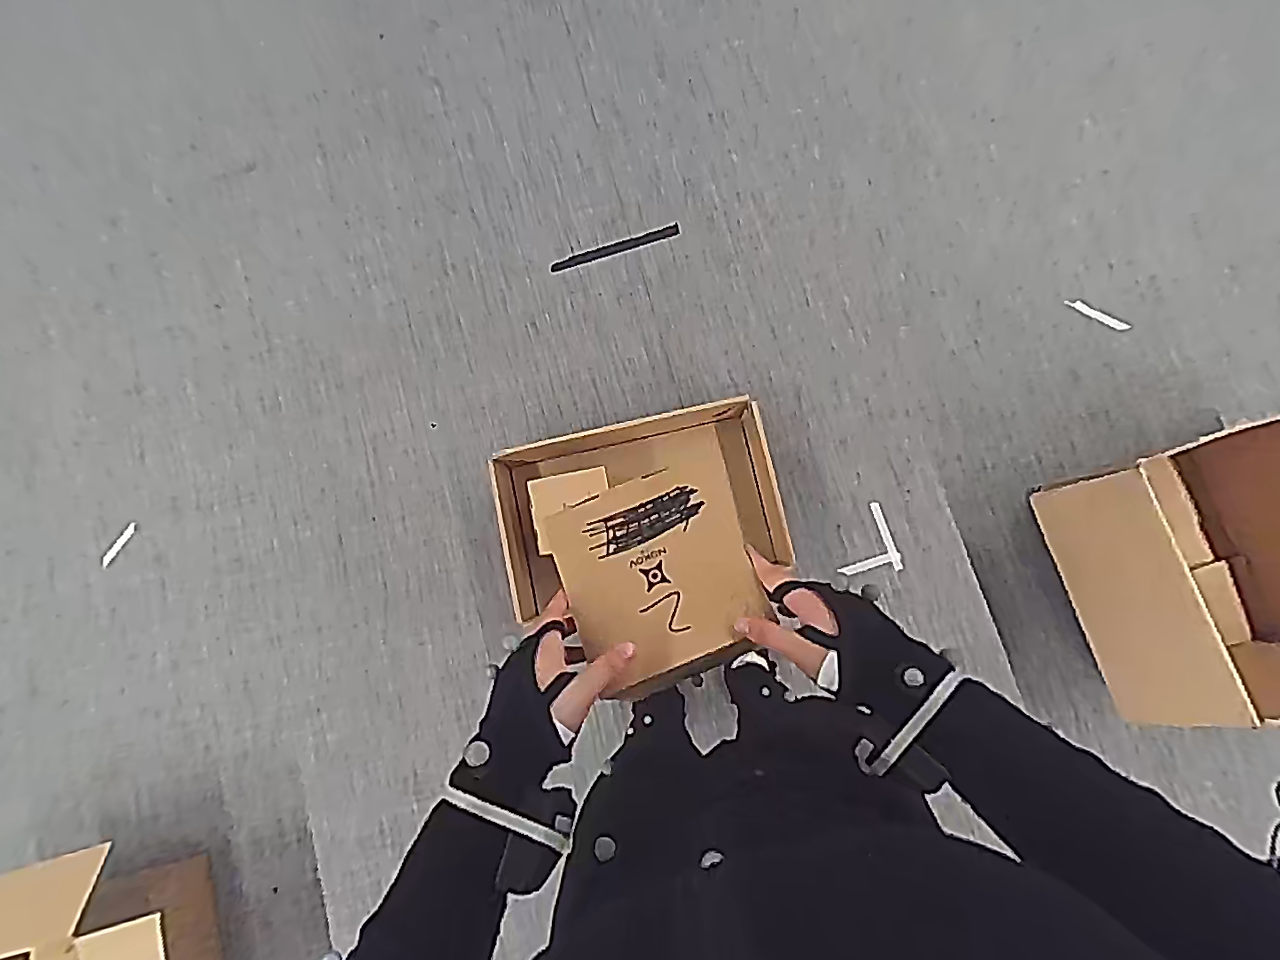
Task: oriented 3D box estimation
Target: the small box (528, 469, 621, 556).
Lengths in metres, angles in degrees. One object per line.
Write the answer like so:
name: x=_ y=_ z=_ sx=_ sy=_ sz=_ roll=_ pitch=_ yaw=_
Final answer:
small box: x=-0.146 y=0.080 z=1.256 sx=0.179 sy=0.176 sz=0.168 roll=-12 pitch=84 yaw=-1
